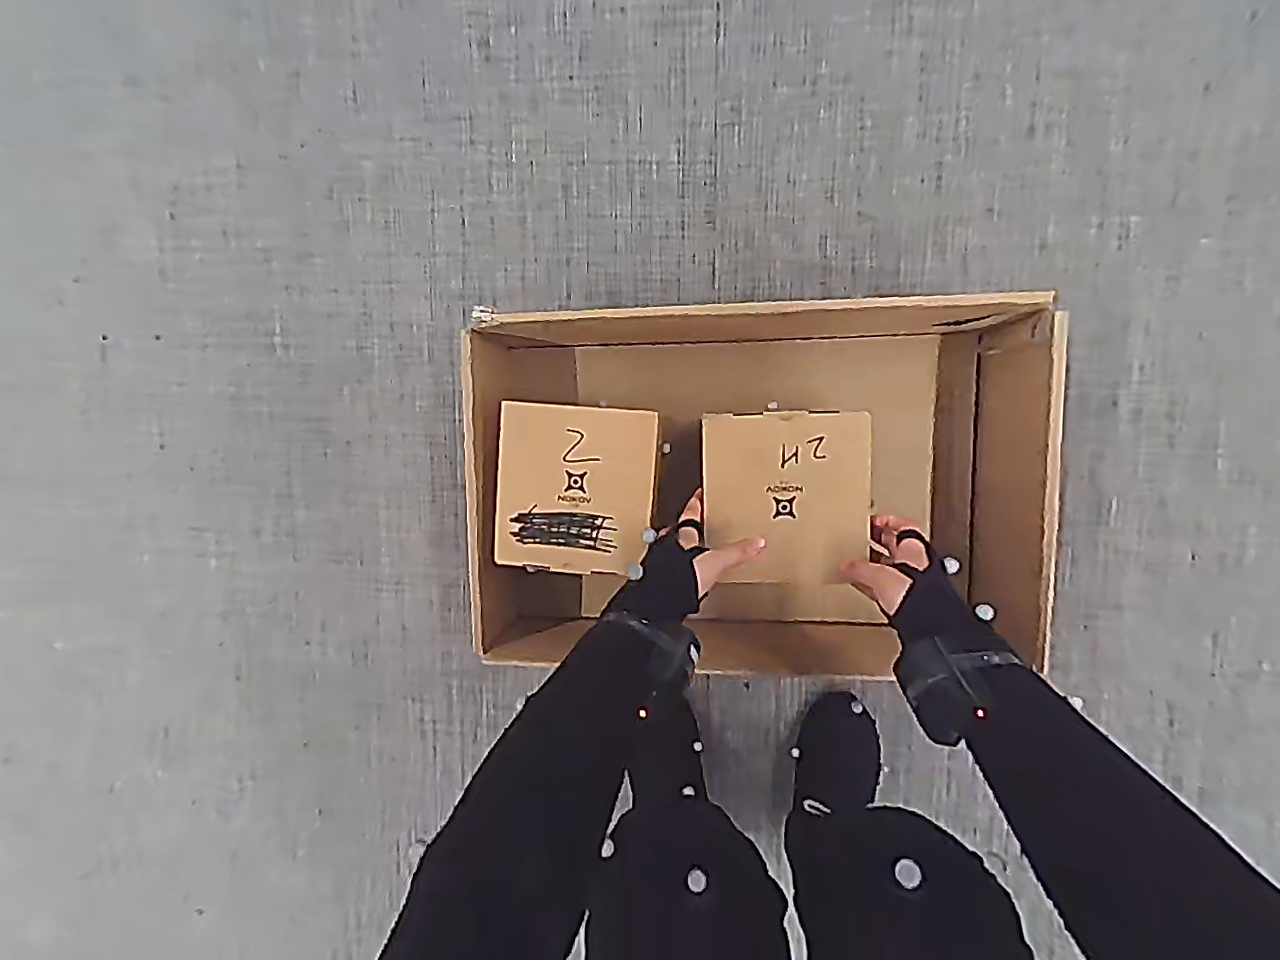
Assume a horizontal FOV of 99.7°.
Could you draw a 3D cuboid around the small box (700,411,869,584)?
[{"bbox_3d":[0.153,0.011,0.622,0.168,0.176,0.179,-1,95,7],"label":"small box"}]
